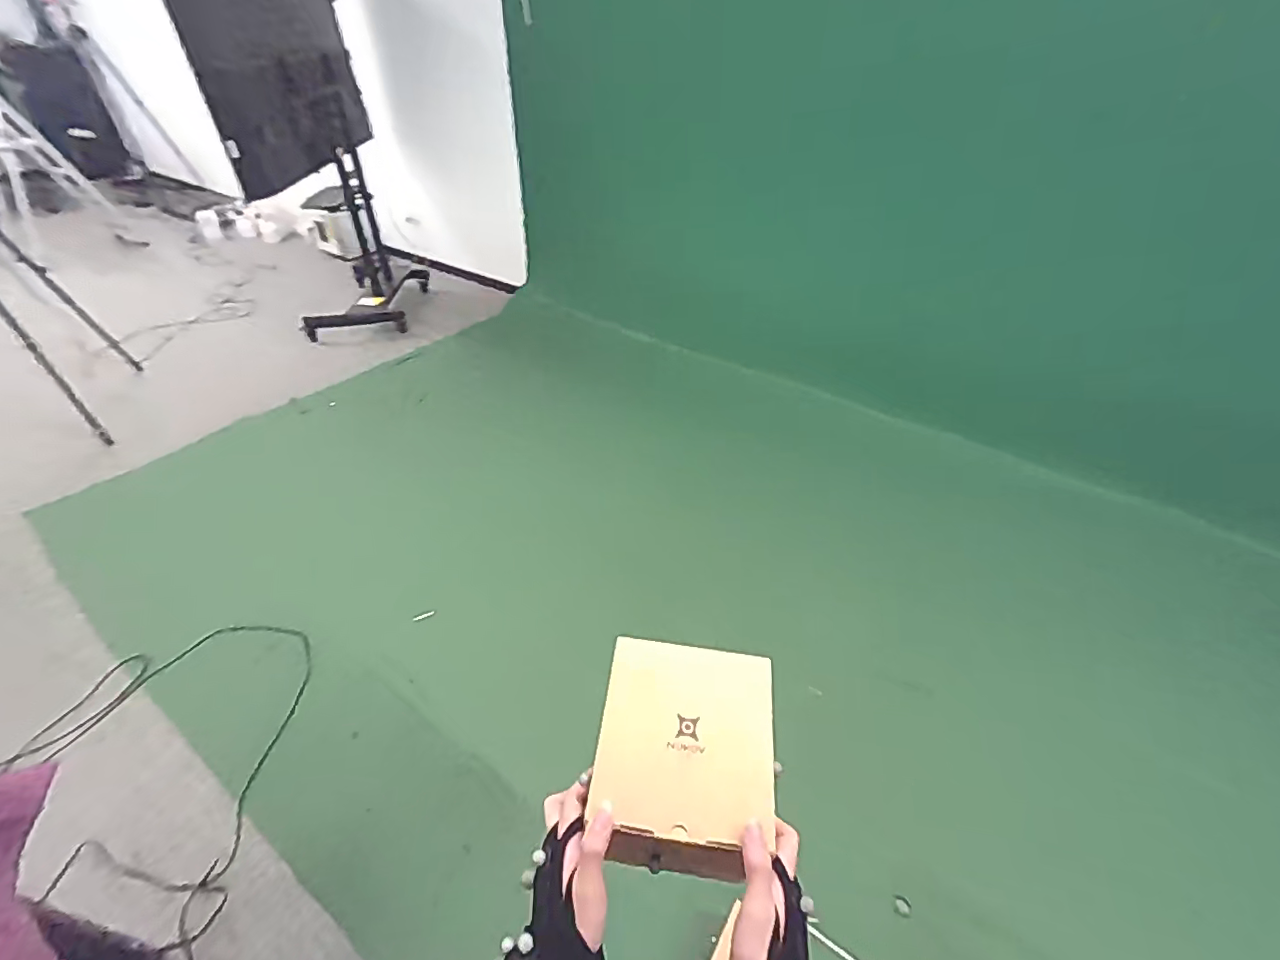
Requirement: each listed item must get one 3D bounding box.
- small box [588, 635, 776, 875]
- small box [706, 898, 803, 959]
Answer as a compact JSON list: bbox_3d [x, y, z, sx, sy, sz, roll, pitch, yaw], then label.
[{"bbox_3d":[0.041,0.291,0.573,0.168,0.176,0.179,7,48,3],"label":"small box"},{"bbox_3d":[0.233,1.075,1.177,0.168,0.176,0.179,24,44,24],"label":"small box"}]
